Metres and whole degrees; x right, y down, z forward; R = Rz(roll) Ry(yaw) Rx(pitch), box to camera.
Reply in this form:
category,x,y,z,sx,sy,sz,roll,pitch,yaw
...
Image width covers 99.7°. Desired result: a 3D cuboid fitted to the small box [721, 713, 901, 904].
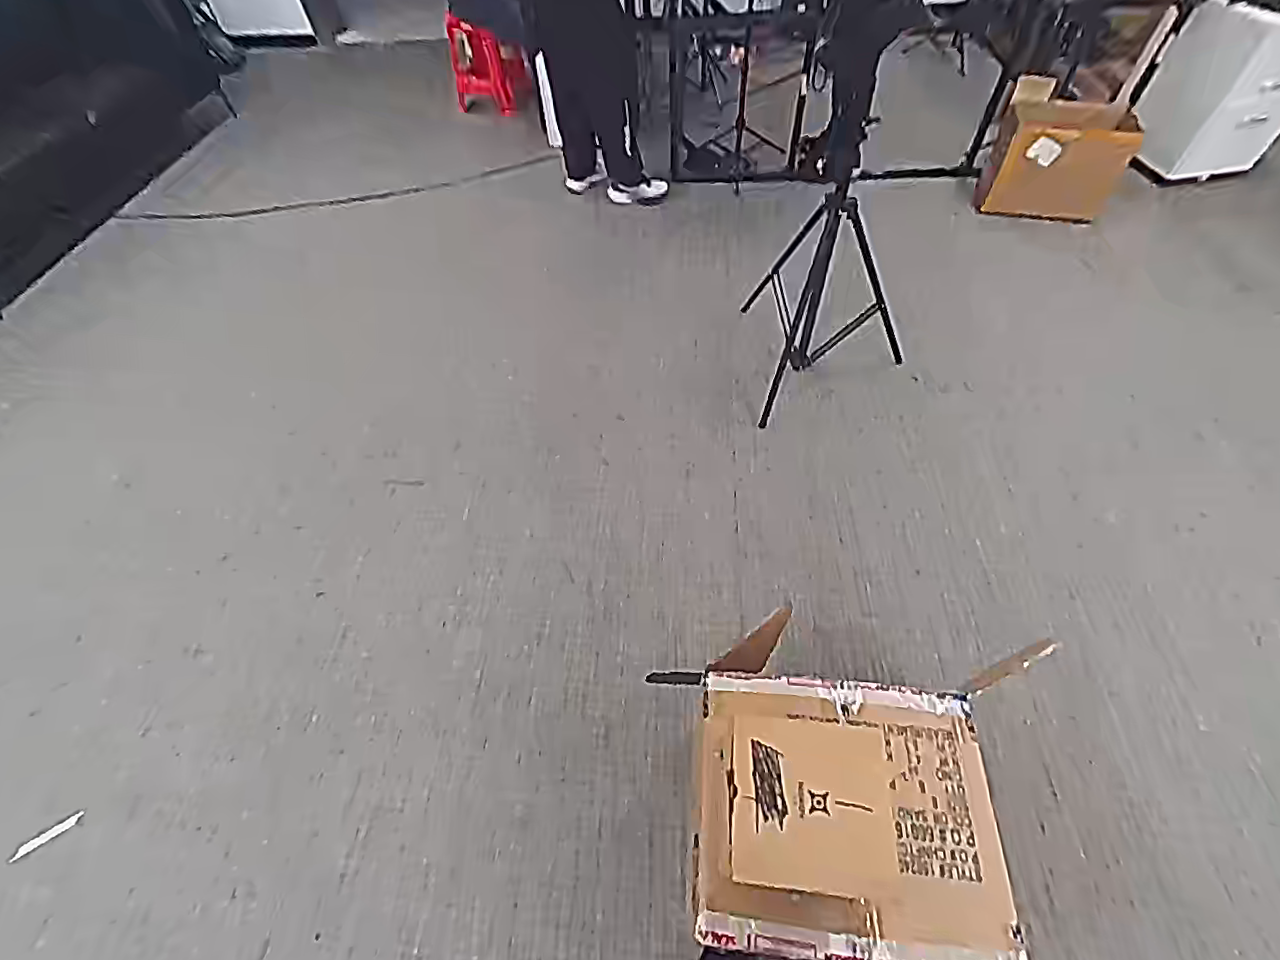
category,x,y,z,sx,sy,sz,roll,pitch,yaw
small box,0.192,0.397,0.662,0.179,0.176,0.168,4,57,6
